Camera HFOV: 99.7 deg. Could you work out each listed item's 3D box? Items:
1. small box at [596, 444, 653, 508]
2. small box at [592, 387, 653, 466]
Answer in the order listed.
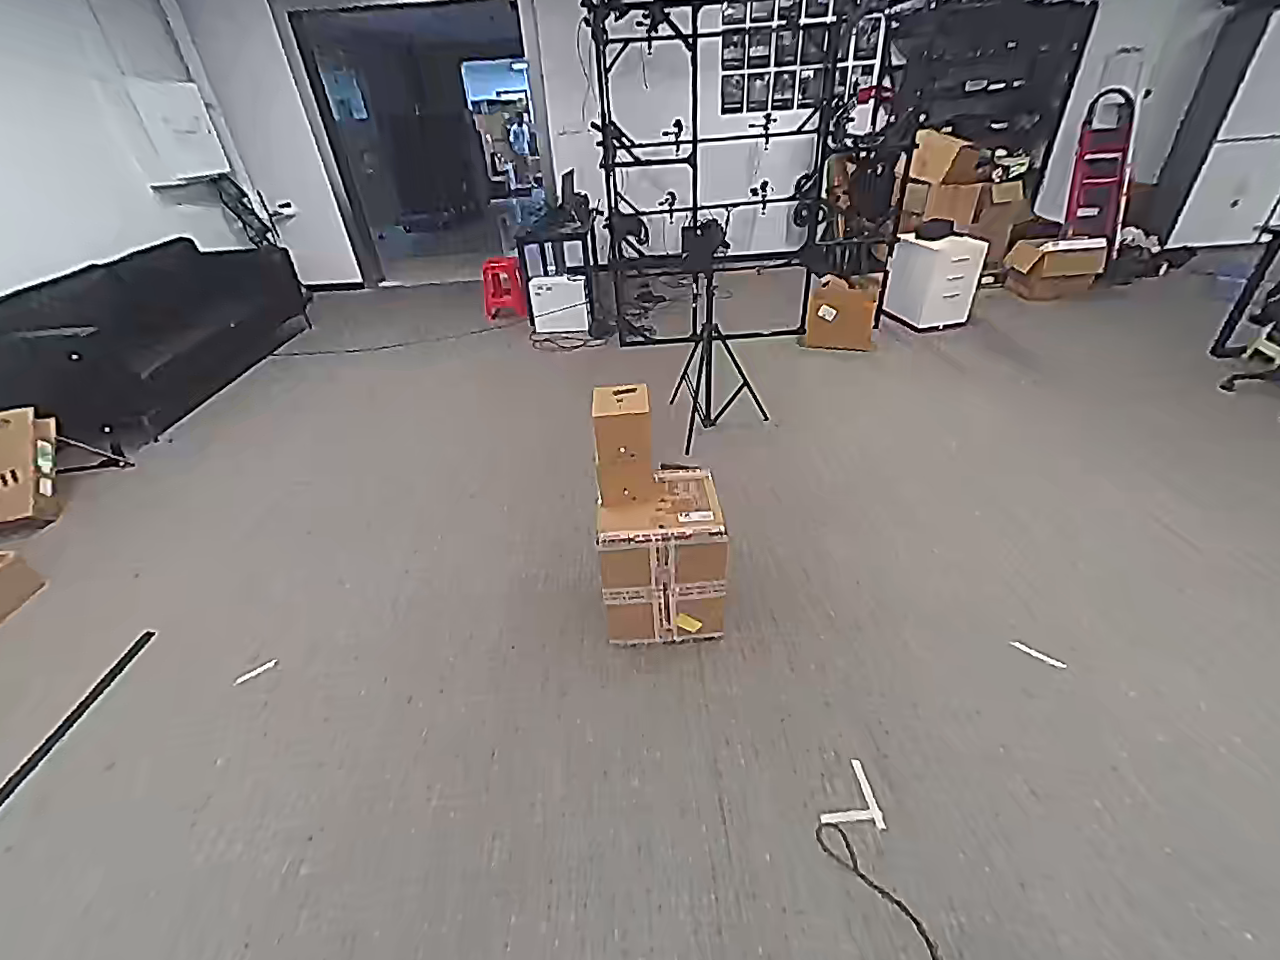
[{"bbox_3d":[-0.051,-0.031,1.739,0.168,0.176,0.179,-8,37,-1],"label":"small box"},{"bbox_3d":[-0.050,-0.162,1.638,0.168,0.176,0.179,-6,37,2],"label":"small box"}]
